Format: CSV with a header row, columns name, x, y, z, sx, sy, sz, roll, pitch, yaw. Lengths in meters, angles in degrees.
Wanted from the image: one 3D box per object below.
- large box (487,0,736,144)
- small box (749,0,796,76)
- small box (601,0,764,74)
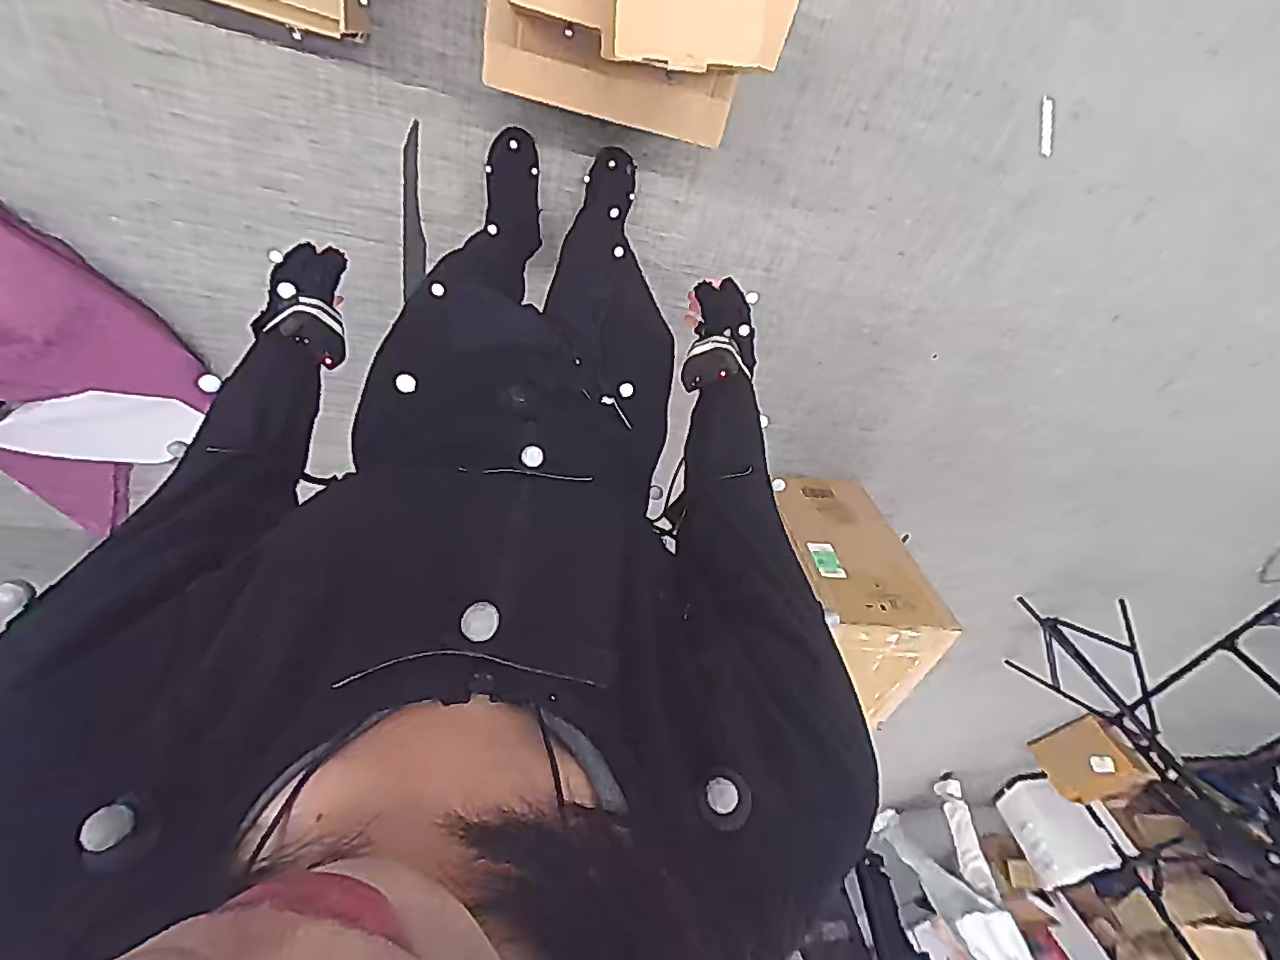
name,x,y,z,sx,sy,sz,roll,pitch,yaw
large box,-0.045,-0.817,0.932,0.408,0.320,0.320,5,127,-15
small box,0.118,-0.692,0.747,0.168,0.176,0.179,10,124,-17
small box,0.045,-0.580,0.612,0.168,0.176,0.179,-2,129,-9
